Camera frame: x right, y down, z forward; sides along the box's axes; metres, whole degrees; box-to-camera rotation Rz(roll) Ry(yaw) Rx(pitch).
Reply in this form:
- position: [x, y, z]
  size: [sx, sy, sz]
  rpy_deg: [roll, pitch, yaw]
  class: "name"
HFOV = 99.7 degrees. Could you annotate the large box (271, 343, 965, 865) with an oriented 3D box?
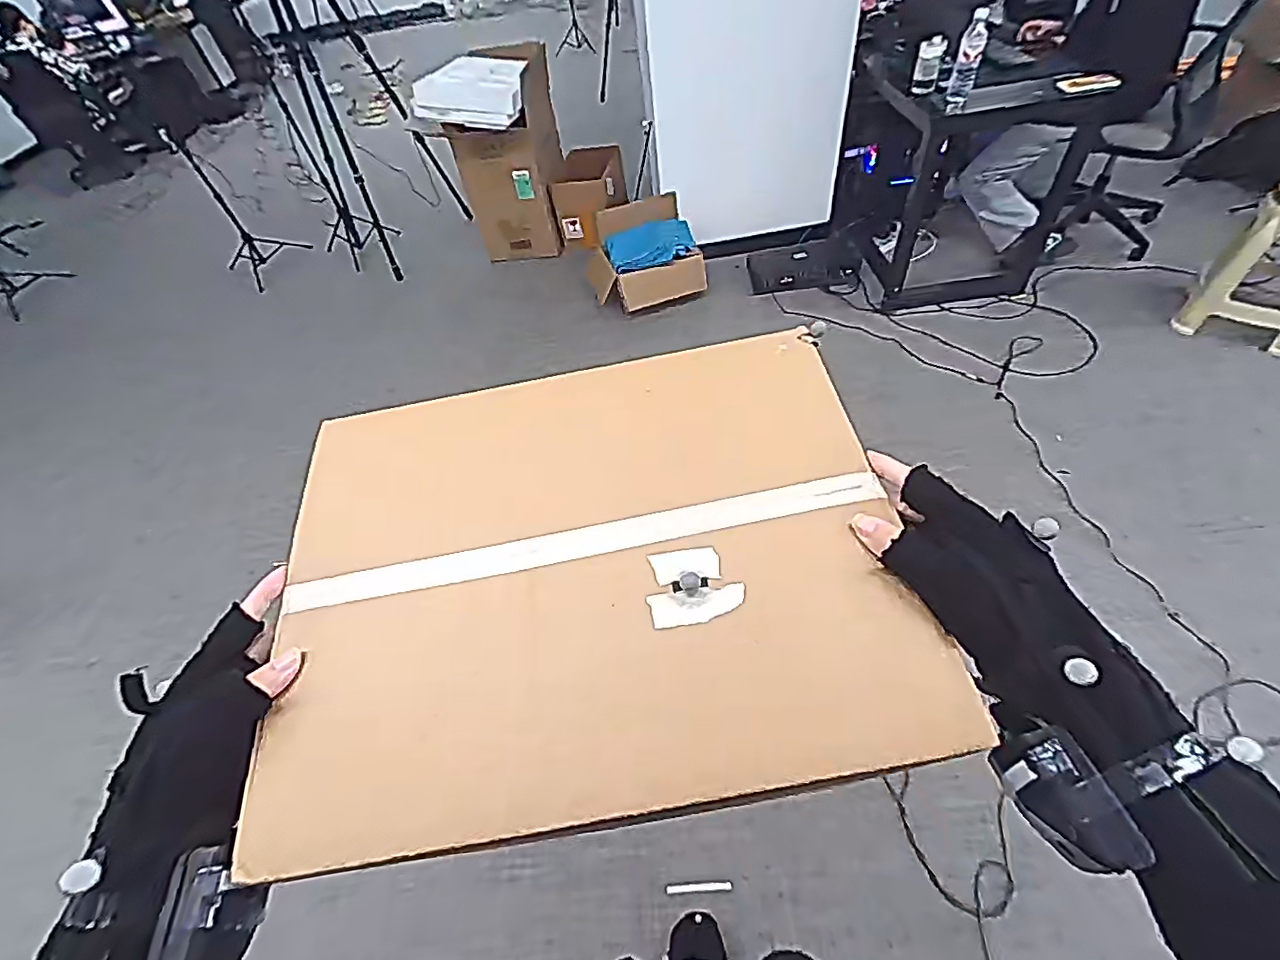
- position: [-0.022, 0.125, 0.503]
  size: [0.408, 0.320, 0.320]
  rpy_deg: [-11, 58, 0]
  class: "large box"
